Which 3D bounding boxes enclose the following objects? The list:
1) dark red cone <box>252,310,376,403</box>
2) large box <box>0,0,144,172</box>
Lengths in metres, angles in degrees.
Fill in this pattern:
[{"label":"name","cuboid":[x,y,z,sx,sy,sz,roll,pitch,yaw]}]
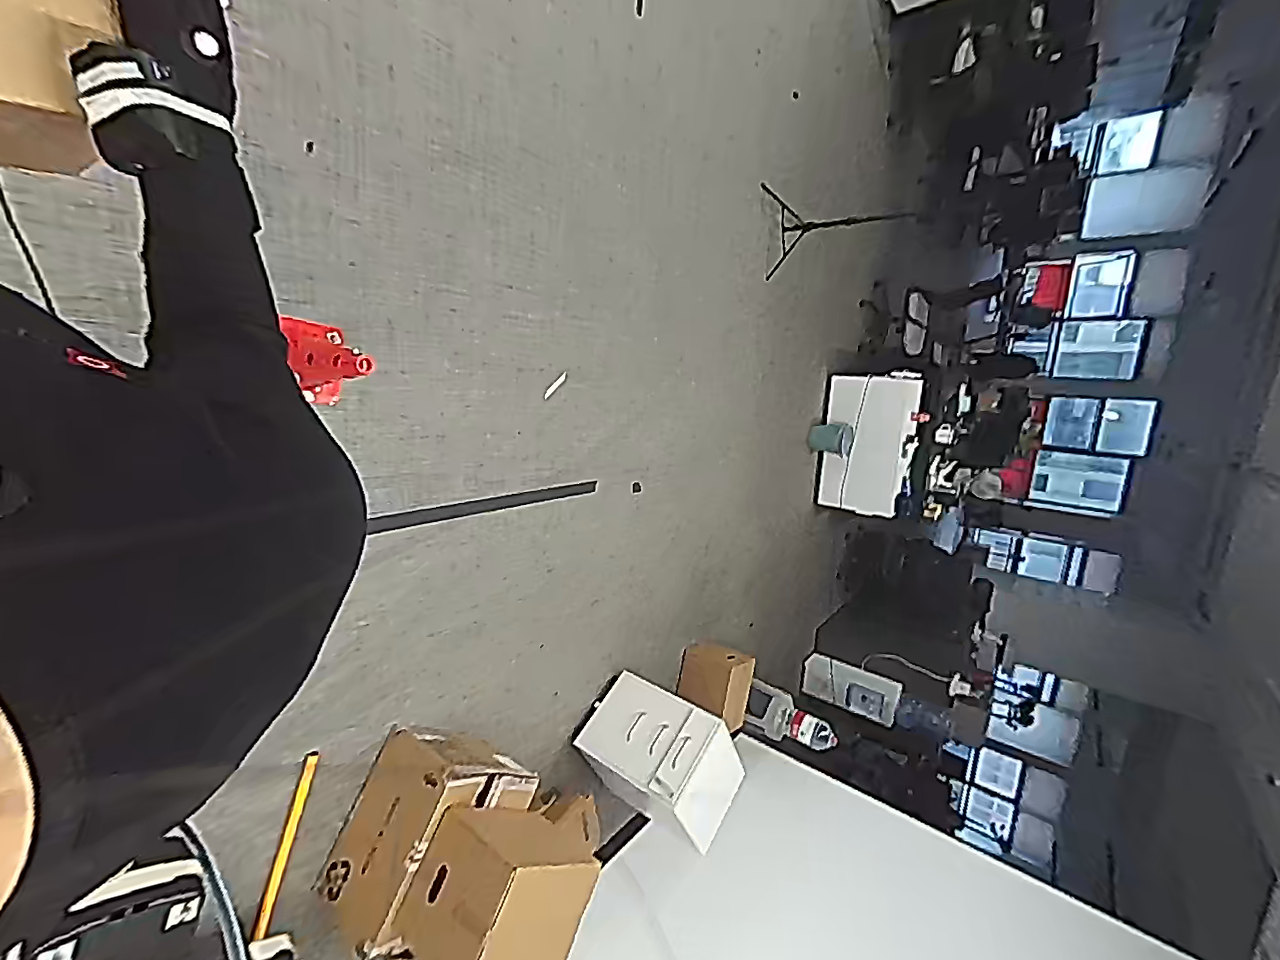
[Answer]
[{"label":"dark red cone","cuboid":[-0.700,-0.267,1.215,0.201,0.394,0.202,0,100,-51]},{"label":"large box","cuboid":[-0.600,-0.391,0.288,0.408,0.320,0.320,-20,118,-49]}]
